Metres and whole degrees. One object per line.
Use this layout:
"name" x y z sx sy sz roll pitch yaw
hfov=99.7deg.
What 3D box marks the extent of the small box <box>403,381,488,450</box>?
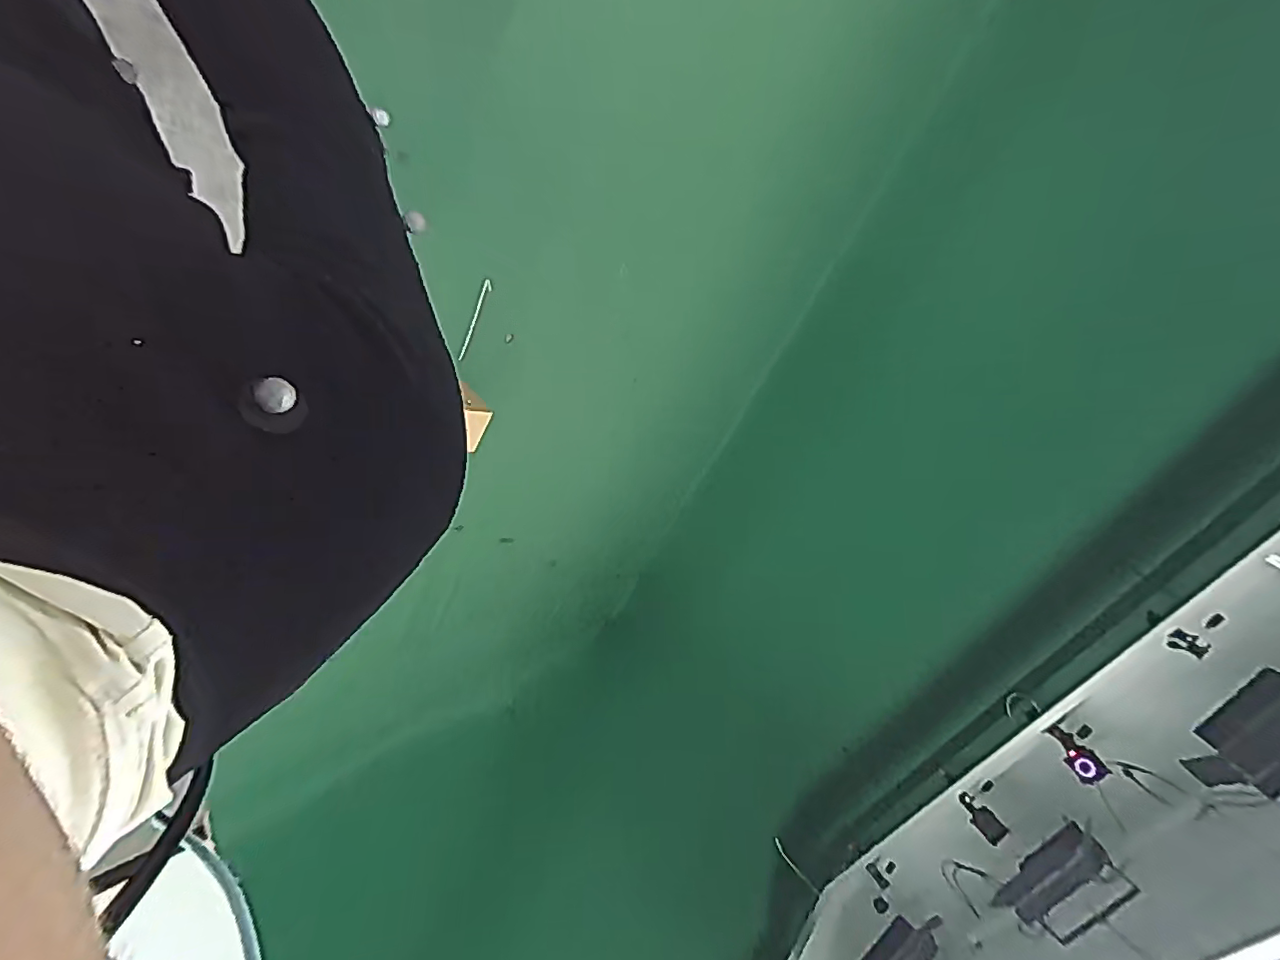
"small box" -0.653 -0.216 1.811 0.179 0.176 0.168 -1 128 -56
